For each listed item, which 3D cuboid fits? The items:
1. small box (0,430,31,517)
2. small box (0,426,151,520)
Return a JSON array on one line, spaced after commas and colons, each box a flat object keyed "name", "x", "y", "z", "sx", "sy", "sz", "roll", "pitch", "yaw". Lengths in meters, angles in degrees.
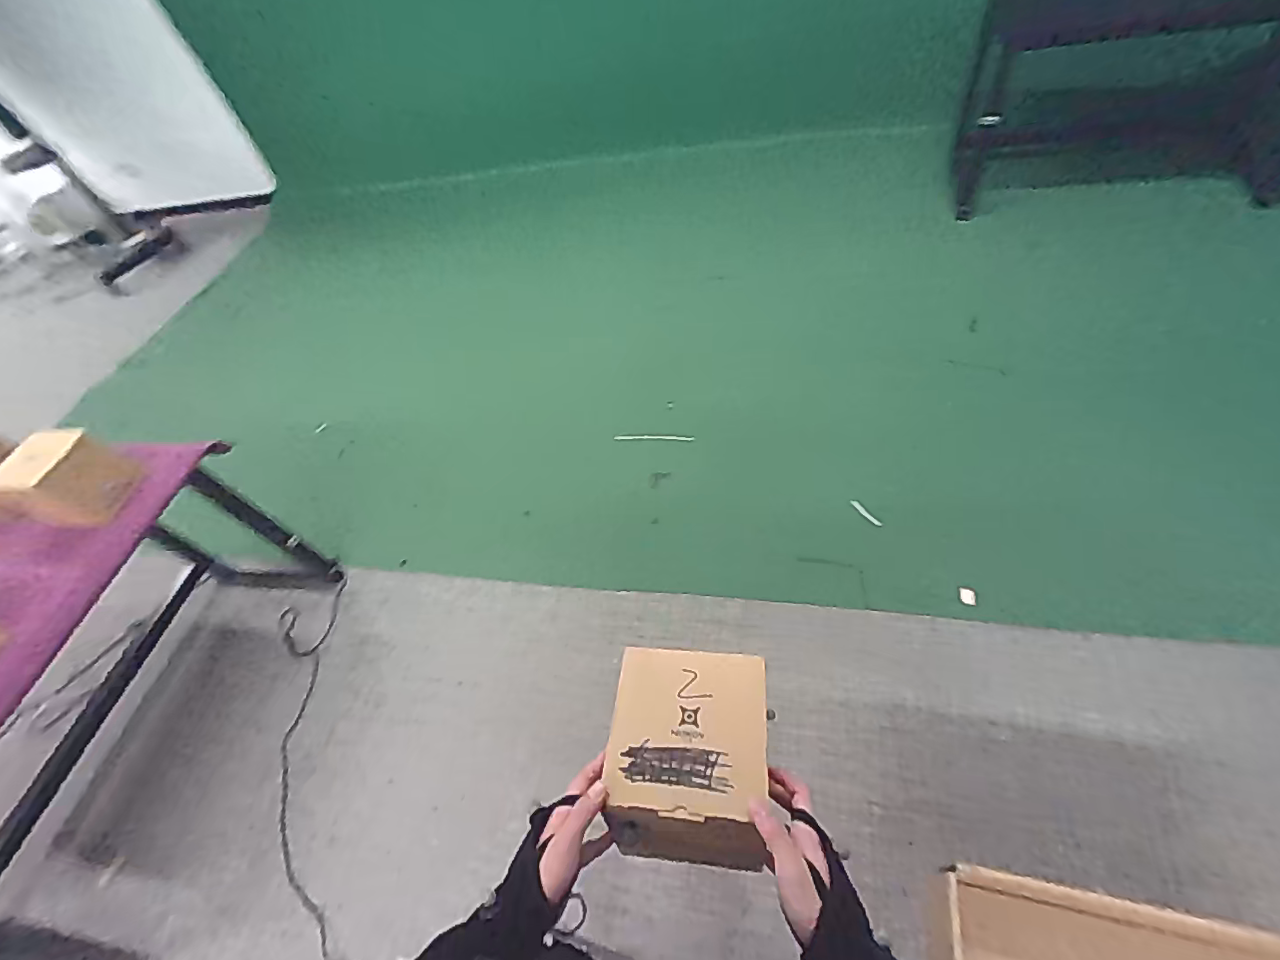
[{"name": "small box", "x": -1.677, "y": -0.019, "z": 1.387, "sx": 0.179, "sy": 0.176, "sz": 0.168, "roll": 4, "pitch": 55, "yaw": 12}, {"name": "small box", "x": -1.369, "y": -0.014, "z": 1.312, "sx": 0.179, "sy": 0.176, "sz": 0.168, "roll": 1, "pitch": 56, "yaw": 14}]
